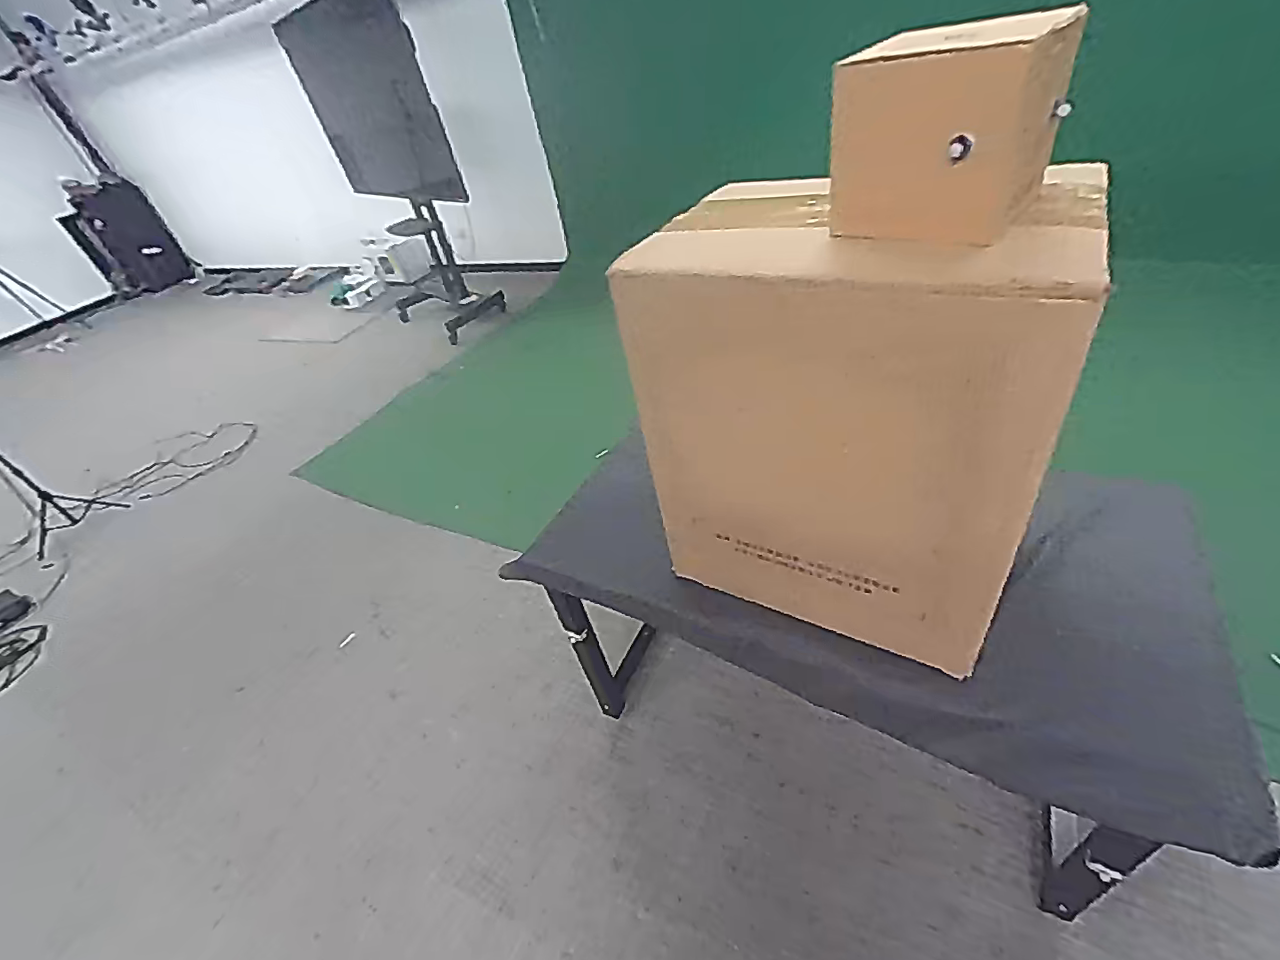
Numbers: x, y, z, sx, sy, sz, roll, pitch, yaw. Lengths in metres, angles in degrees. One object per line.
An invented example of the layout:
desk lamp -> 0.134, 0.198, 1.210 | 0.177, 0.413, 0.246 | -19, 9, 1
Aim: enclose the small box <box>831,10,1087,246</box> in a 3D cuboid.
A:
small box -> 0.325, -0.366, 0.579 | 0.179, 0.176, 0.168 | 25, 53, 38
